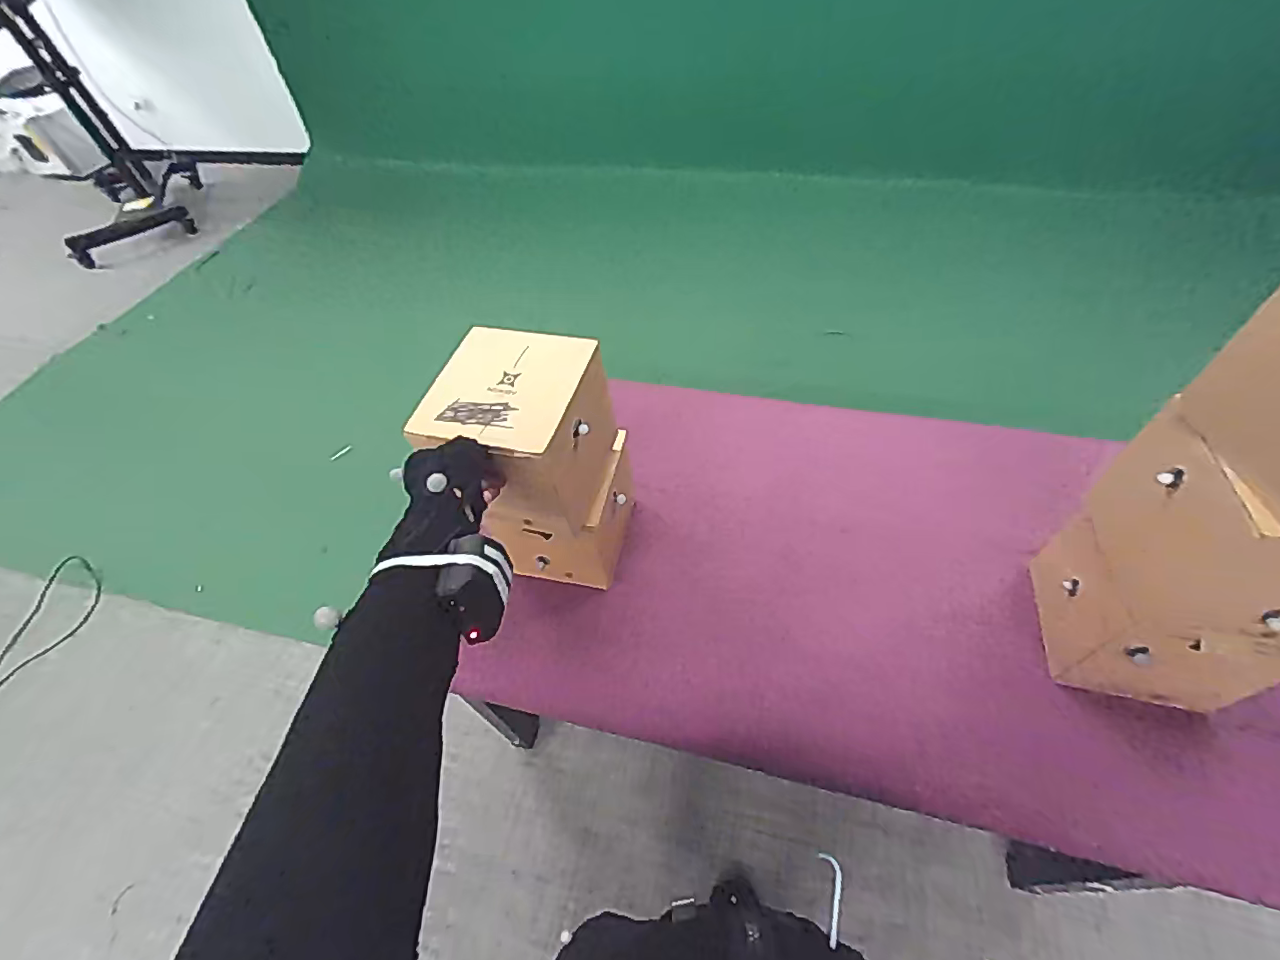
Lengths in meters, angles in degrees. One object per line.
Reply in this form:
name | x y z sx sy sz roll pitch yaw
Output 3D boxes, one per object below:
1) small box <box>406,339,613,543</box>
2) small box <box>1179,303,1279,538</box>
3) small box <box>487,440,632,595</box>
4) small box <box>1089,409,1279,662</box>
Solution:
small box | -0.140 -0.044 0.660 0.168 0.176 0.179 10 56 14
small box | 0.589 -0.048 0.405 0.168 0.176 0.179 -2 50 3
small box | -0.111 0.048 0.816 0.168 0.176 0.179 8 54 11
small box | 0.595 0.055 0.531 0.168 0.176 0.179 6 52 11
